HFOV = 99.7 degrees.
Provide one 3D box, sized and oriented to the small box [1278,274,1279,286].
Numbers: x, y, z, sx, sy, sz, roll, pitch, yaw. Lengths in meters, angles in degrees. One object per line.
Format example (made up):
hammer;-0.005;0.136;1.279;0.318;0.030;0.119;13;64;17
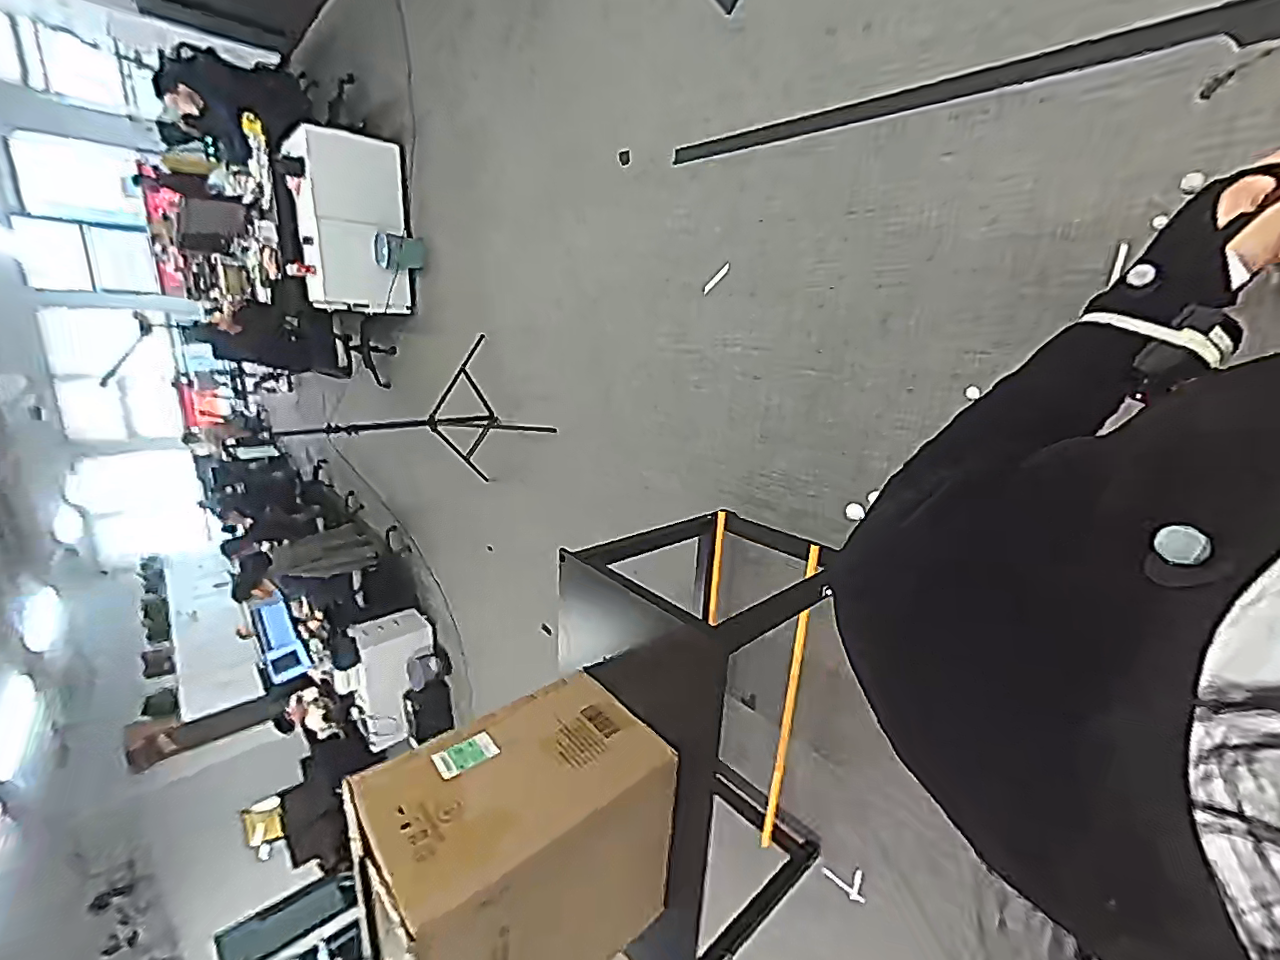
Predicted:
small box;1.132;-0.383;0.828;0.179;0.176;0.168;16;111;46
